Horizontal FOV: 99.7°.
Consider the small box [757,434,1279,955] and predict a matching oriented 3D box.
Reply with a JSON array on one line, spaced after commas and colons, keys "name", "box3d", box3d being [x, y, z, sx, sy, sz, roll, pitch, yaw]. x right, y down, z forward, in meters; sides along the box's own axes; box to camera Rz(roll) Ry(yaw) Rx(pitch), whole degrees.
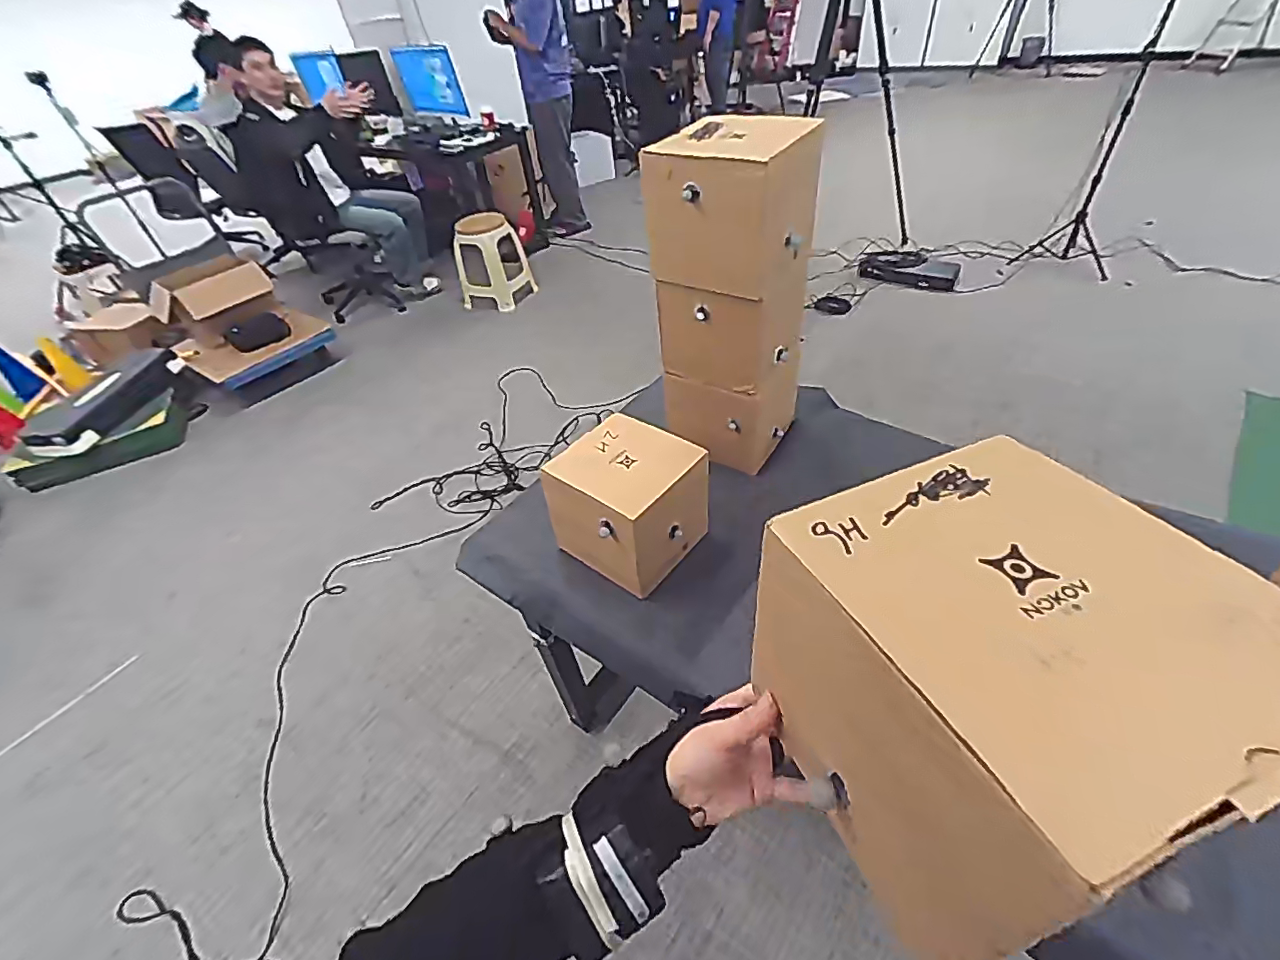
[{"name": "small box", "box3d": [0.179, 0.108, 0.288, 0.168, 0.176, 0.179, -18, 41, -15]}]

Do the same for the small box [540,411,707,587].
[{"name": "small box", "box3d": [-0.016, 0.030, 0.799, 0.179, 0.176, 0.168, 26, 51, 31]}]

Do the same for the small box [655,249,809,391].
[{"name": "small box", "box3d": [0.144, -0.263, 0.850, 0.179, 0.176, 0.168, 22, 54, 26]}]

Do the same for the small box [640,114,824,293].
[{"name": "small box", "box3d": [0.123, -0.372, 0.728, 0.179, 0.176, 0.168, 24, 54, 28]}]
